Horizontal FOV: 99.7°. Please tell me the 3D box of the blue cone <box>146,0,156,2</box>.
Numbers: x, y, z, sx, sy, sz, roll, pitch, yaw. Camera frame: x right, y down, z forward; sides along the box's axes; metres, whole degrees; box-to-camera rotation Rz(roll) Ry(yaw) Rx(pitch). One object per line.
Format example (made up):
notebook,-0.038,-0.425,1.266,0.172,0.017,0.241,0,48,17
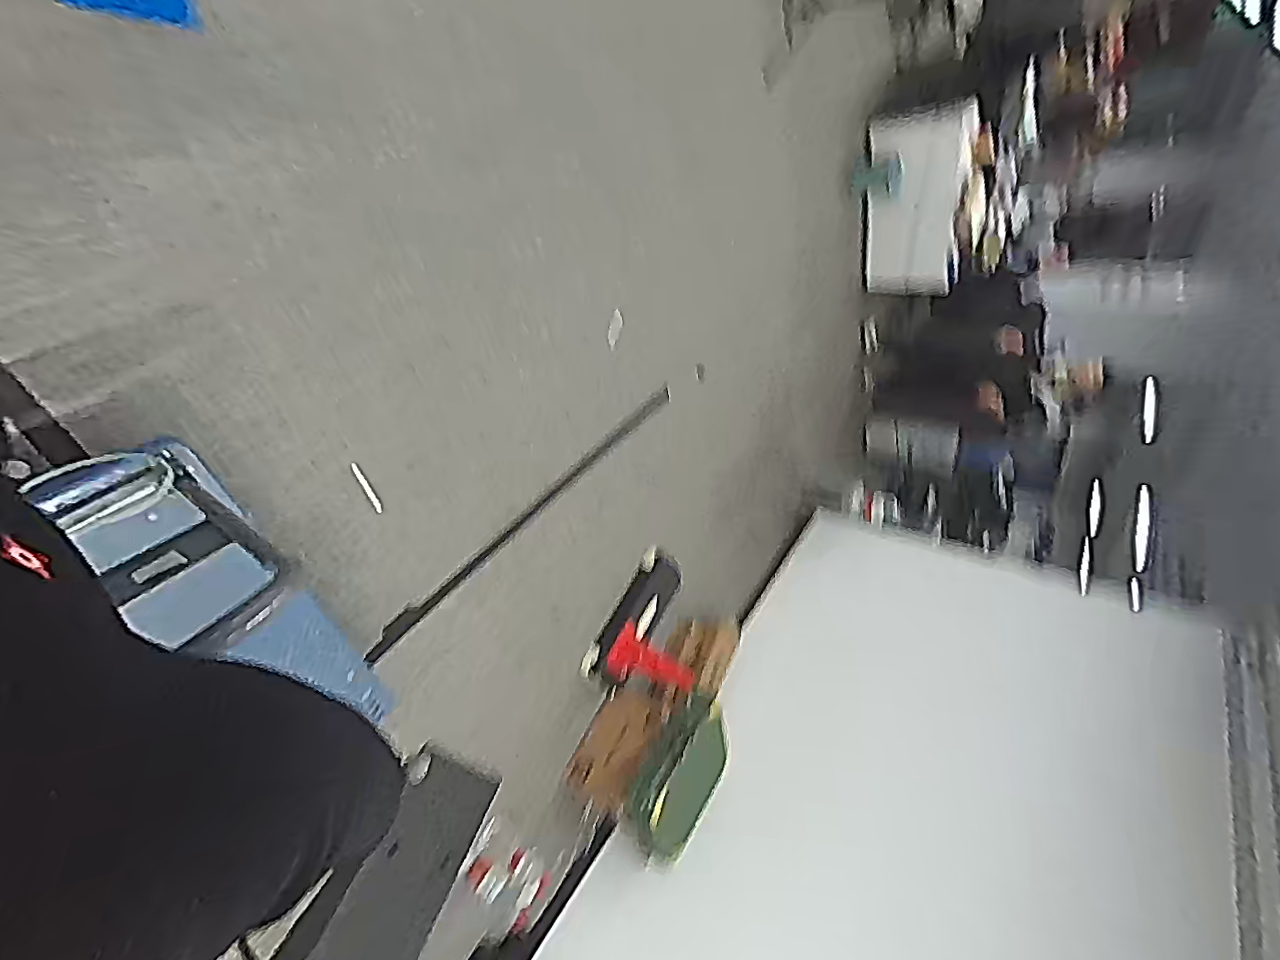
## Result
blue cone,-0.752,-0.857,0.762,0.193,0.380,0.192,-30,125,-45
